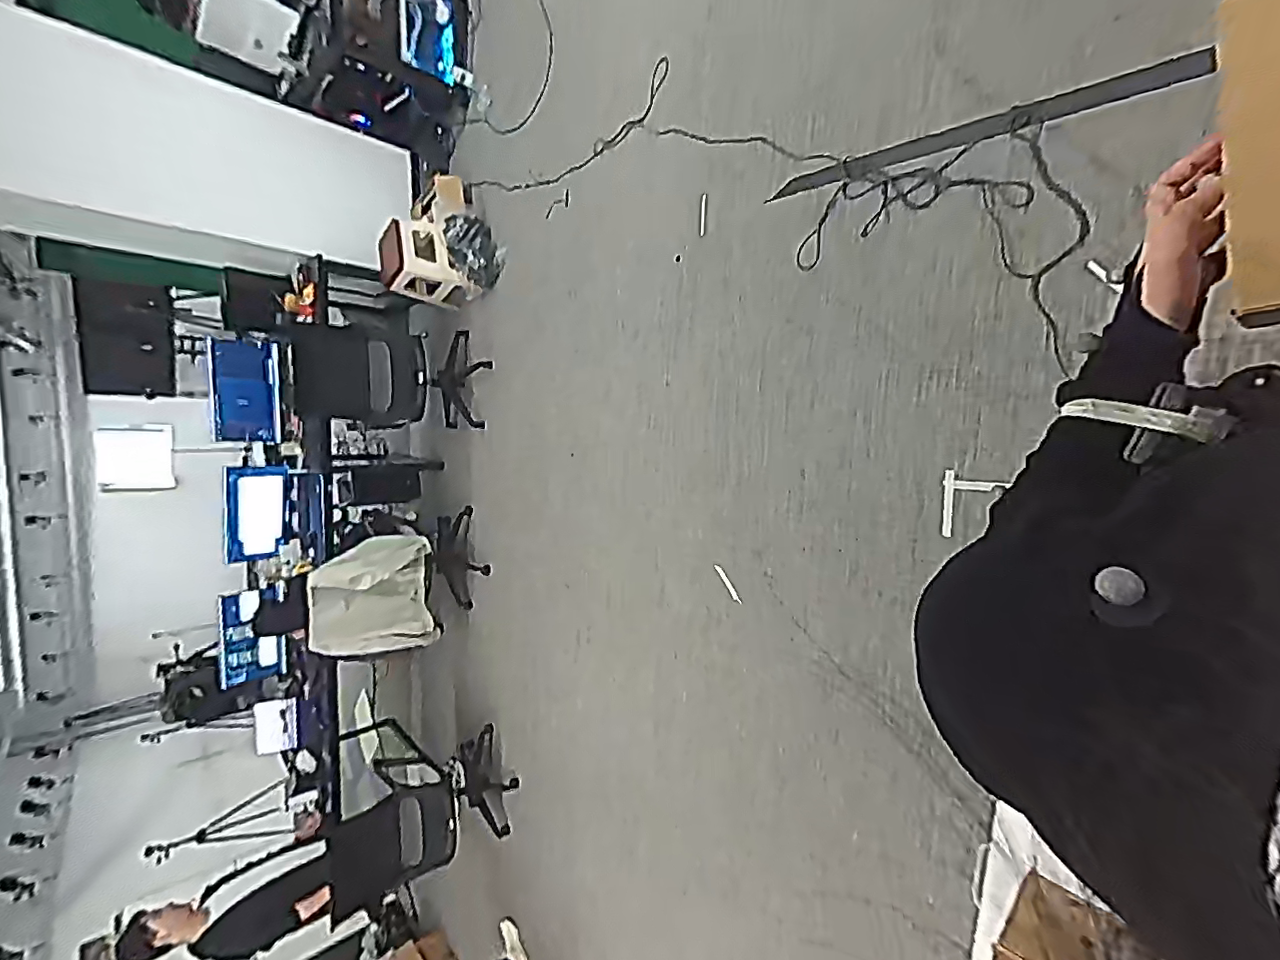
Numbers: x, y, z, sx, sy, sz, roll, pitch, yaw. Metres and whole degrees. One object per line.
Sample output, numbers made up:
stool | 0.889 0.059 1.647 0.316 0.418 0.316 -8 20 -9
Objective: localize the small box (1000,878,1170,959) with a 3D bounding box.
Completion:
small box | 0.566 0.672 0.693 0.168 0.176 0.179 11 100 46

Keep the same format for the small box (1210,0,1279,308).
small box | 0.438 -0.199 0.292 0.168 0.176 0.179 -2 95 50
